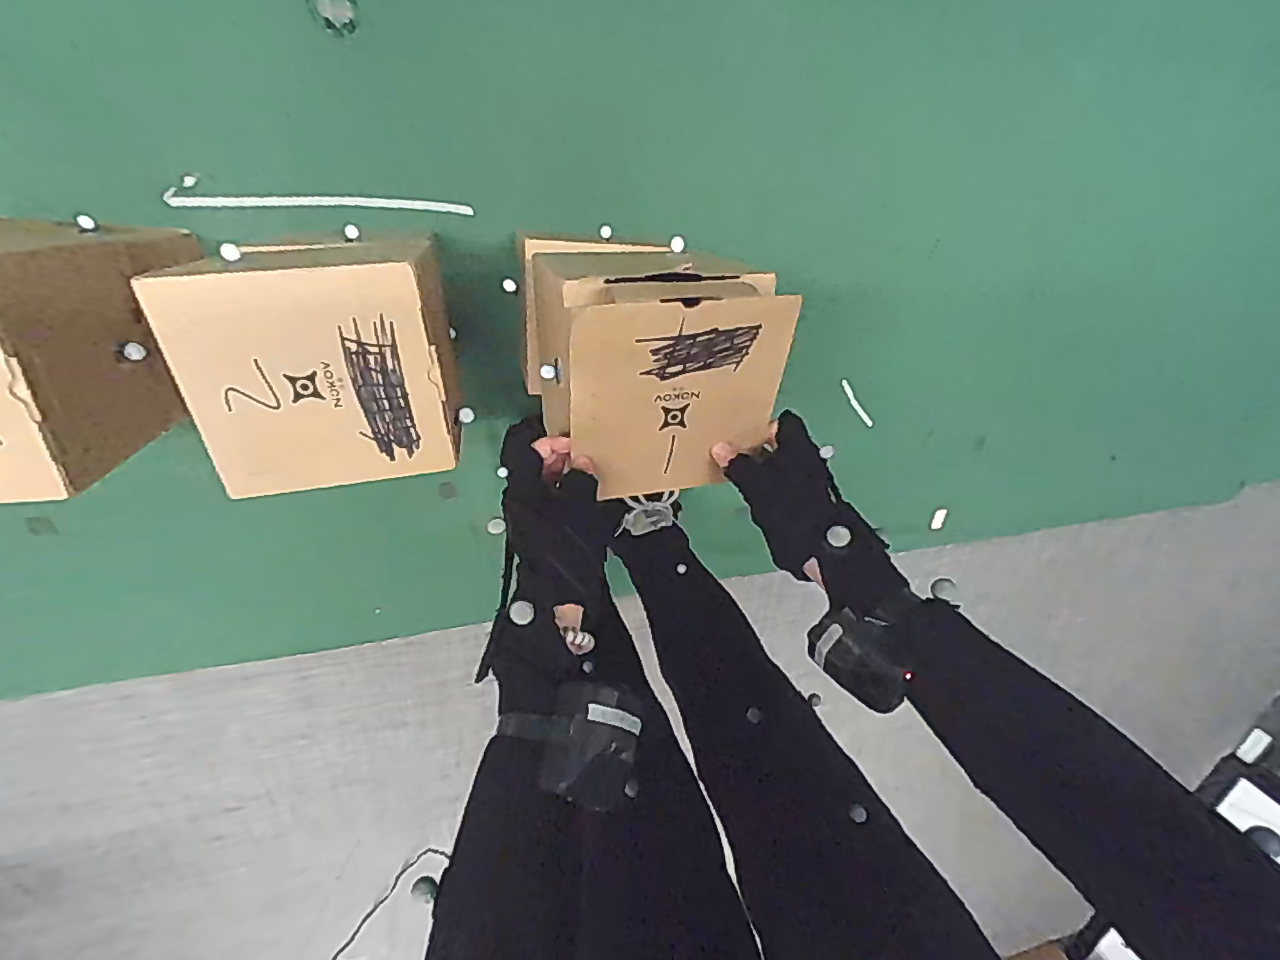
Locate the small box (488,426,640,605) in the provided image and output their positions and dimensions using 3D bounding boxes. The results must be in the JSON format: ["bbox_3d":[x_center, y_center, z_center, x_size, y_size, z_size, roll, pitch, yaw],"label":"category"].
[{"bbox_3d":[-0.109,0.050,0.810,0.179,0.176,0.168,31,116,-9],"label":"small box"}]

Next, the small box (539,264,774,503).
[{"bbox_3d":[0.002,-0.102,0.498,0.168,0.176,0.179,-7,118,-14],"label":"small box"}]

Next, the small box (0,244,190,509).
[{"bbox_3d":[-0.506,-0.087,0.417,0.179,0.176,0.168,-3,116,-14],"label":"small box"}]

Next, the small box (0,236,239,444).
[{"bbox_3d":[-0.555,-0.149,0.563,0.168,0.176,0.179,-2,116,-15],"label":"small box"}]

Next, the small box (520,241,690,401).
[{"bbox_3d":[-0.055,-0.204,0.678,0.179,0.176,0.168,-3,116,-15],"label":"small box"}]
